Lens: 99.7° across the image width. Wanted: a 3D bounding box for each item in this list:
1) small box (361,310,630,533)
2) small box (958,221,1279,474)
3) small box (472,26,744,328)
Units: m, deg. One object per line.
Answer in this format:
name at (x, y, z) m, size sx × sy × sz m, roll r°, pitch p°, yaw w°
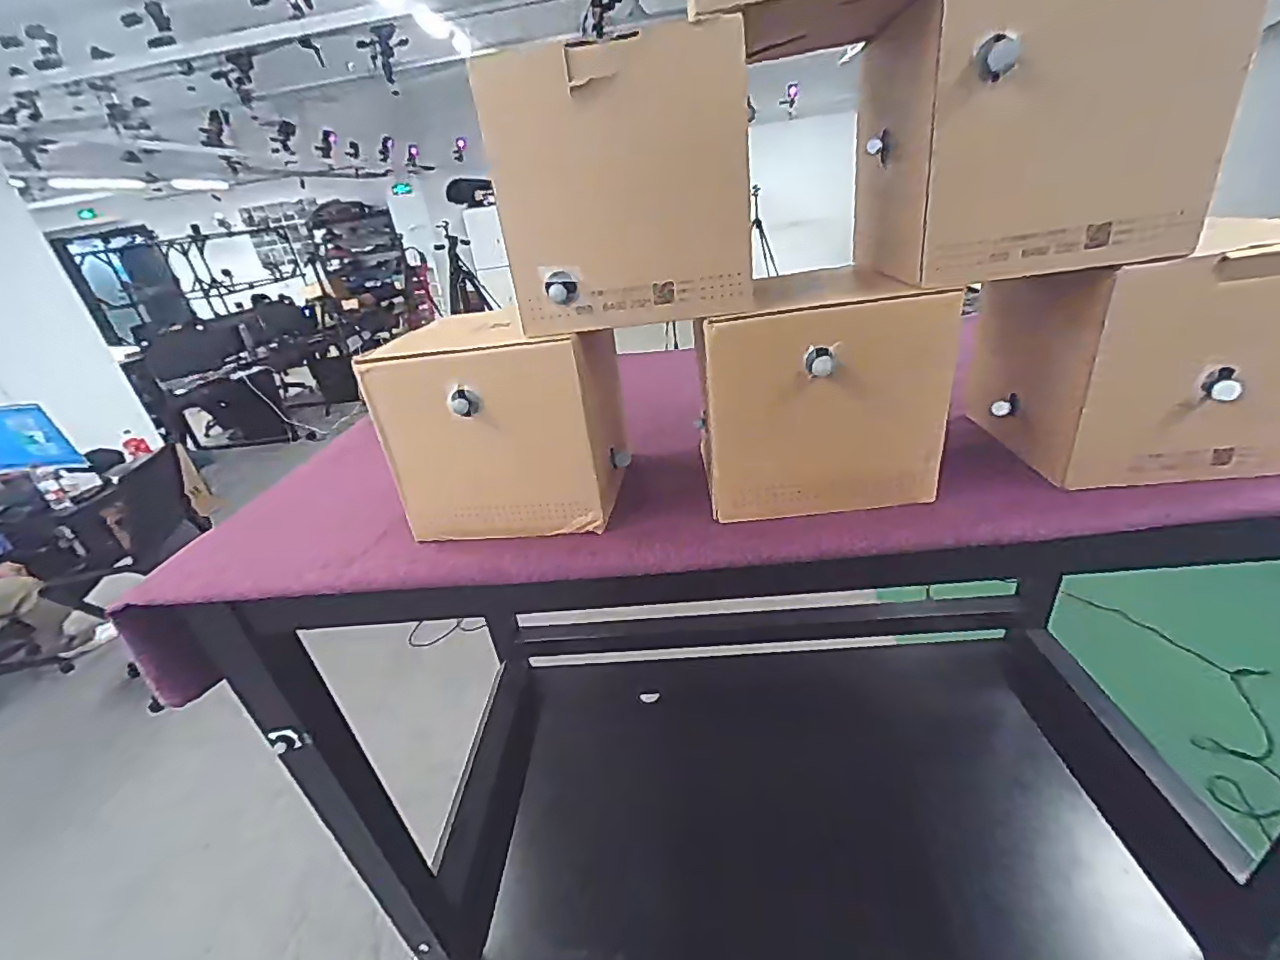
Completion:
small box at (-0.115, -0.060, 0.511) m, size 0.179 × 0.176 × 0.168 m, roll -3°, pitch 27°, yaw 9°
small box at (0.398, -0.111, 0.459) m, size 0.168 × 0.176 × 0.179 m, roll -4°, pitch 27°, yaw 8°
small box at (-0.010, -0.223, 0.437) m, size 0.168 × 0.176 × 0.179 m, roll -5°, pitch 25°, yaw 6°
